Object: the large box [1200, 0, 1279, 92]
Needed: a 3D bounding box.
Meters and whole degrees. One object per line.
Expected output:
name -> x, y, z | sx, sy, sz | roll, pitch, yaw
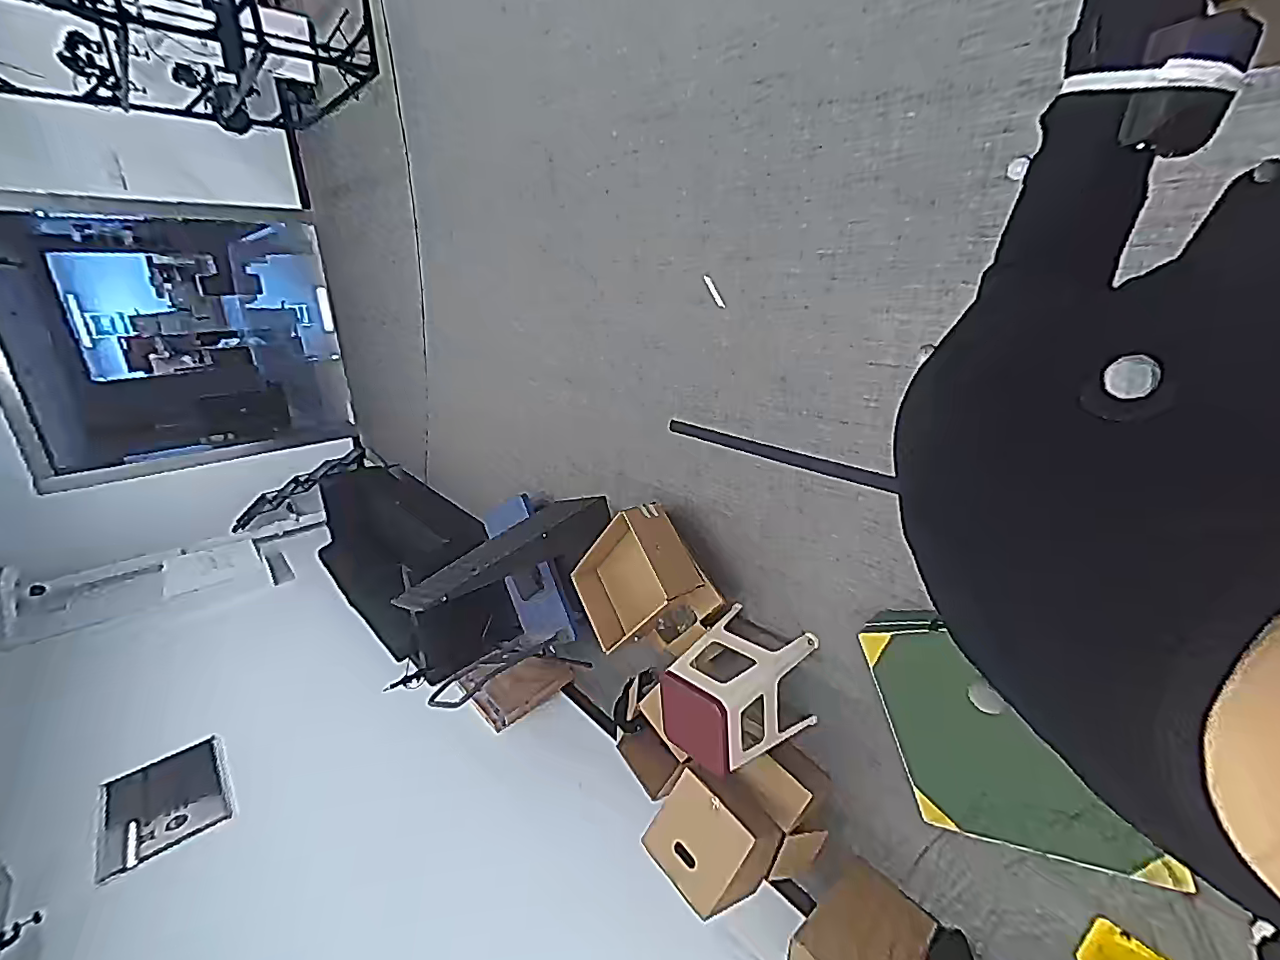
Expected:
large box -> 0.575, -0.396, 0.227 | 0.408, 0.320, 0.320 | 24, 127, 39
